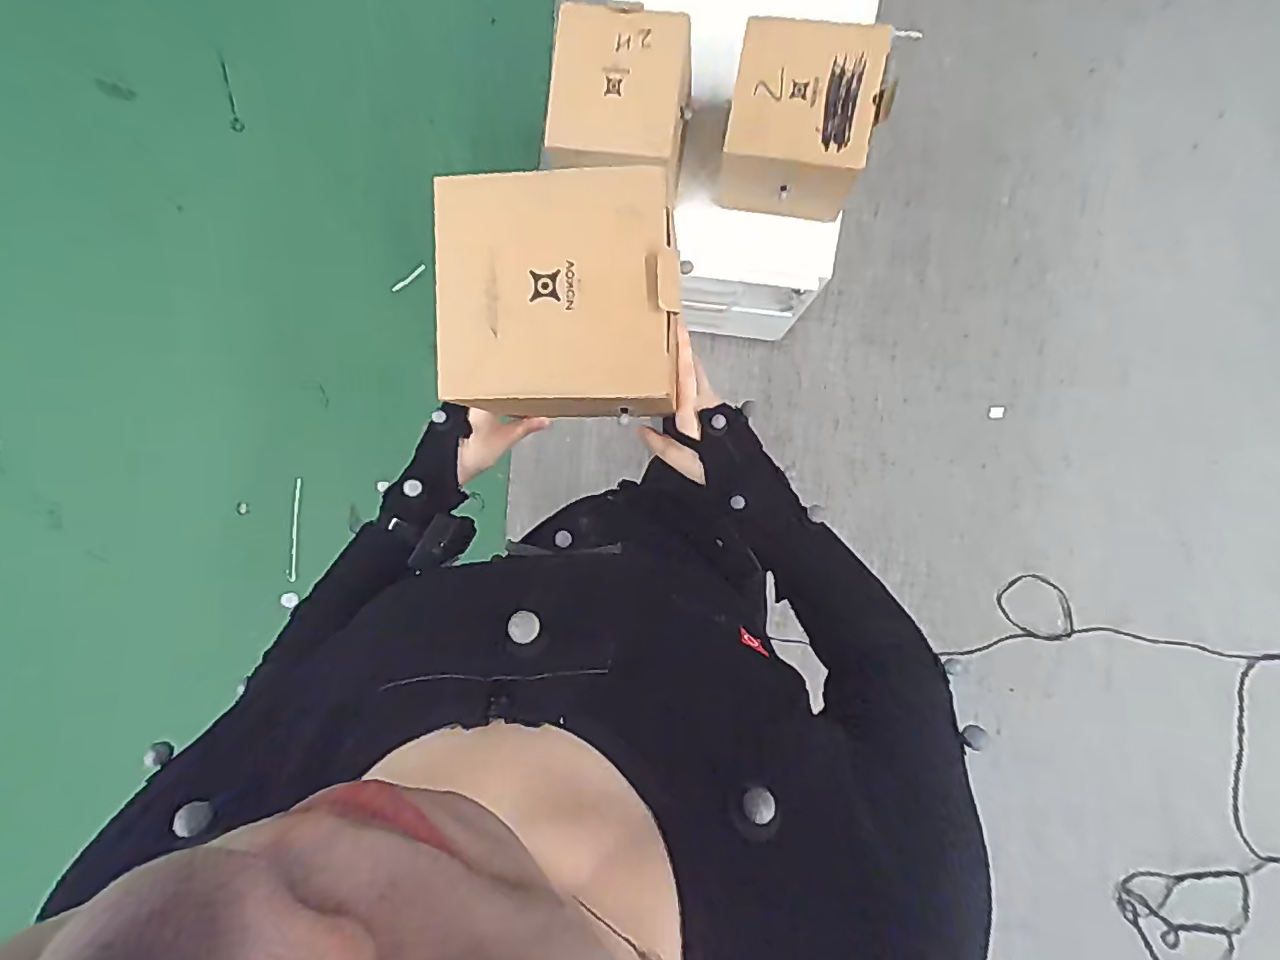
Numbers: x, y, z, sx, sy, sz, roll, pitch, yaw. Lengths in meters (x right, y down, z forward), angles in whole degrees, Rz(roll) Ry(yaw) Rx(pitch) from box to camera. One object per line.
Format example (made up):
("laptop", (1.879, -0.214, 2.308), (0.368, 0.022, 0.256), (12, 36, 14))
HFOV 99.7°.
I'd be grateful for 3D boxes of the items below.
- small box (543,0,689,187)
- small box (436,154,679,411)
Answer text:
("small box", (-0.025, -0.510, 0.755), (0.168, 0.176, 0.179), (9, 96, 4))
("small box", (-0.055, -0.152, 0.470), (0.179, 0.176, 0.168), (0, 92, 6))
